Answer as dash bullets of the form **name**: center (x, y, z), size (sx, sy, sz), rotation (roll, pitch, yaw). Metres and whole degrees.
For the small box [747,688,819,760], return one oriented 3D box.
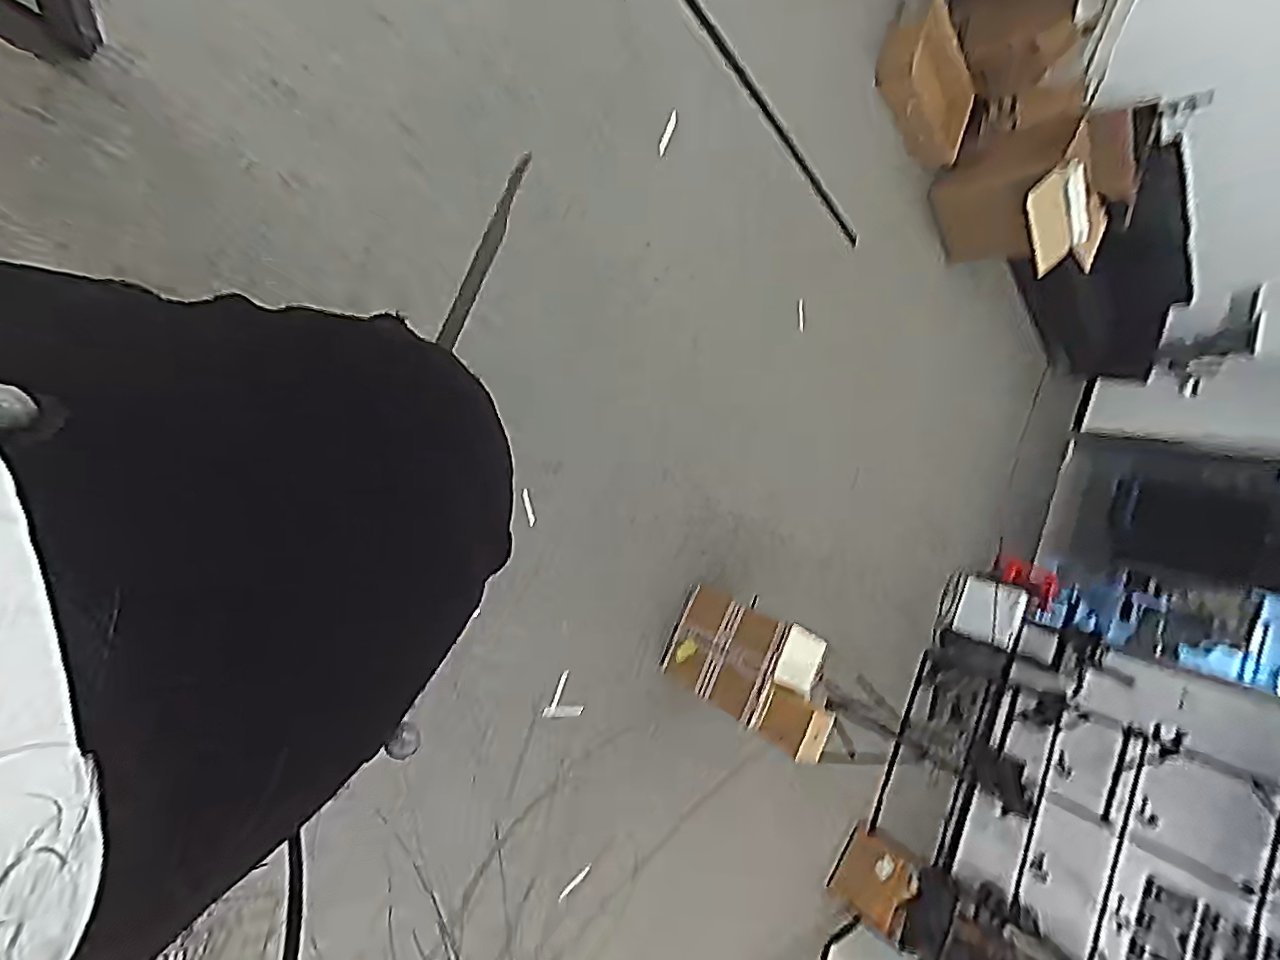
- **small box**: center (0.518, 0.893, 1.981), size (0.168, 0.176, 0.179), rotation (30, 81, -41)
